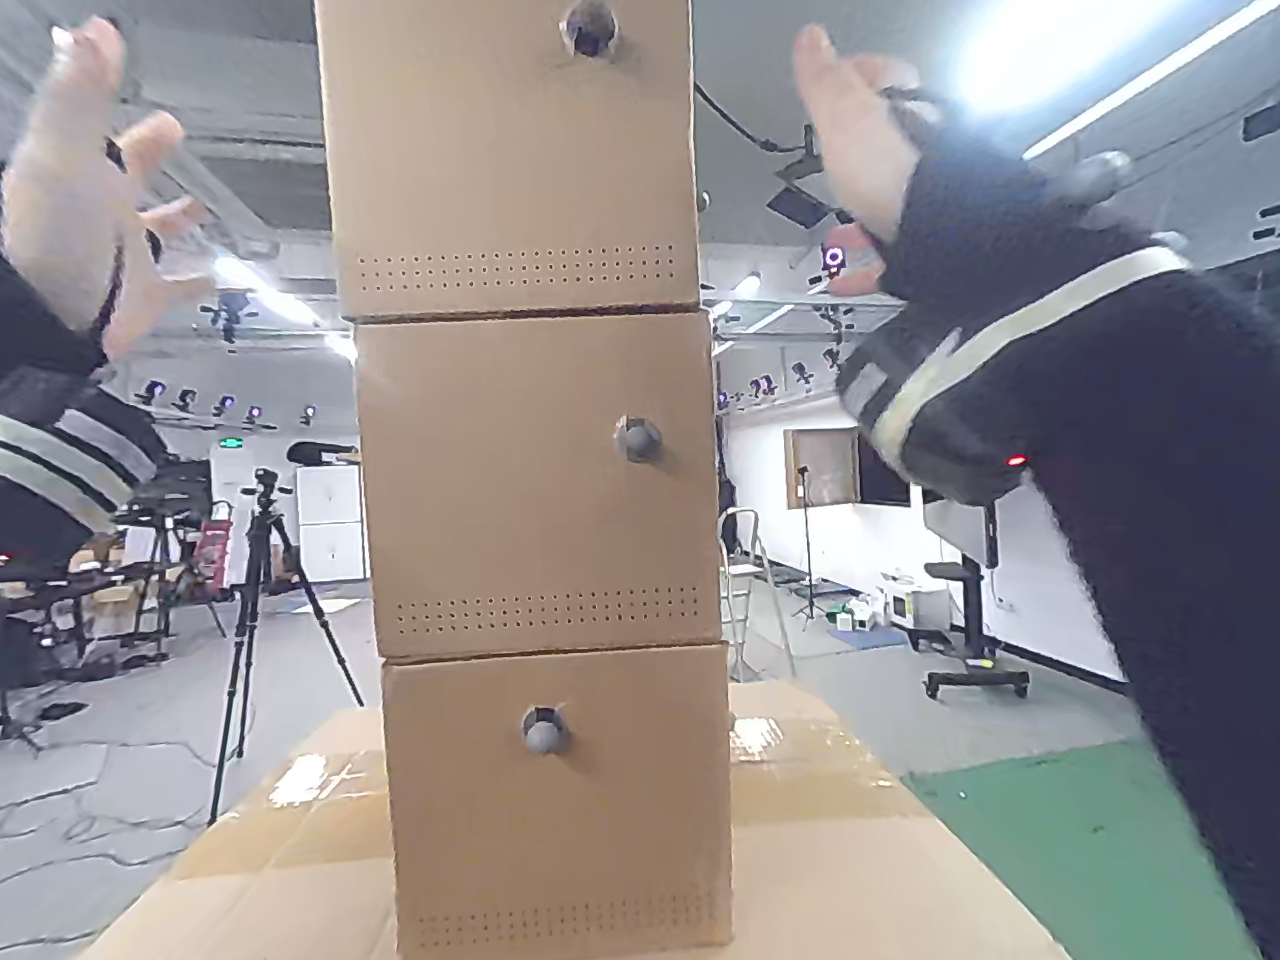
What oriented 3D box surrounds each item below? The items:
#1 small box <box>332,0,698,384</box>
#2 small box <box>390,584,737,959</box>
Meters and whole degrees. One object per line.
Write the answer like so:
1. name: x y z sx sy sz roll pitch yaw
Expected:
1. small box: -0.057 -0.153 0.339 0.179 0.176 0.168 -3 3 0
2. small box: -0.040 0.175 0.355 0.179 0.176 0.168 -3 3 -4
